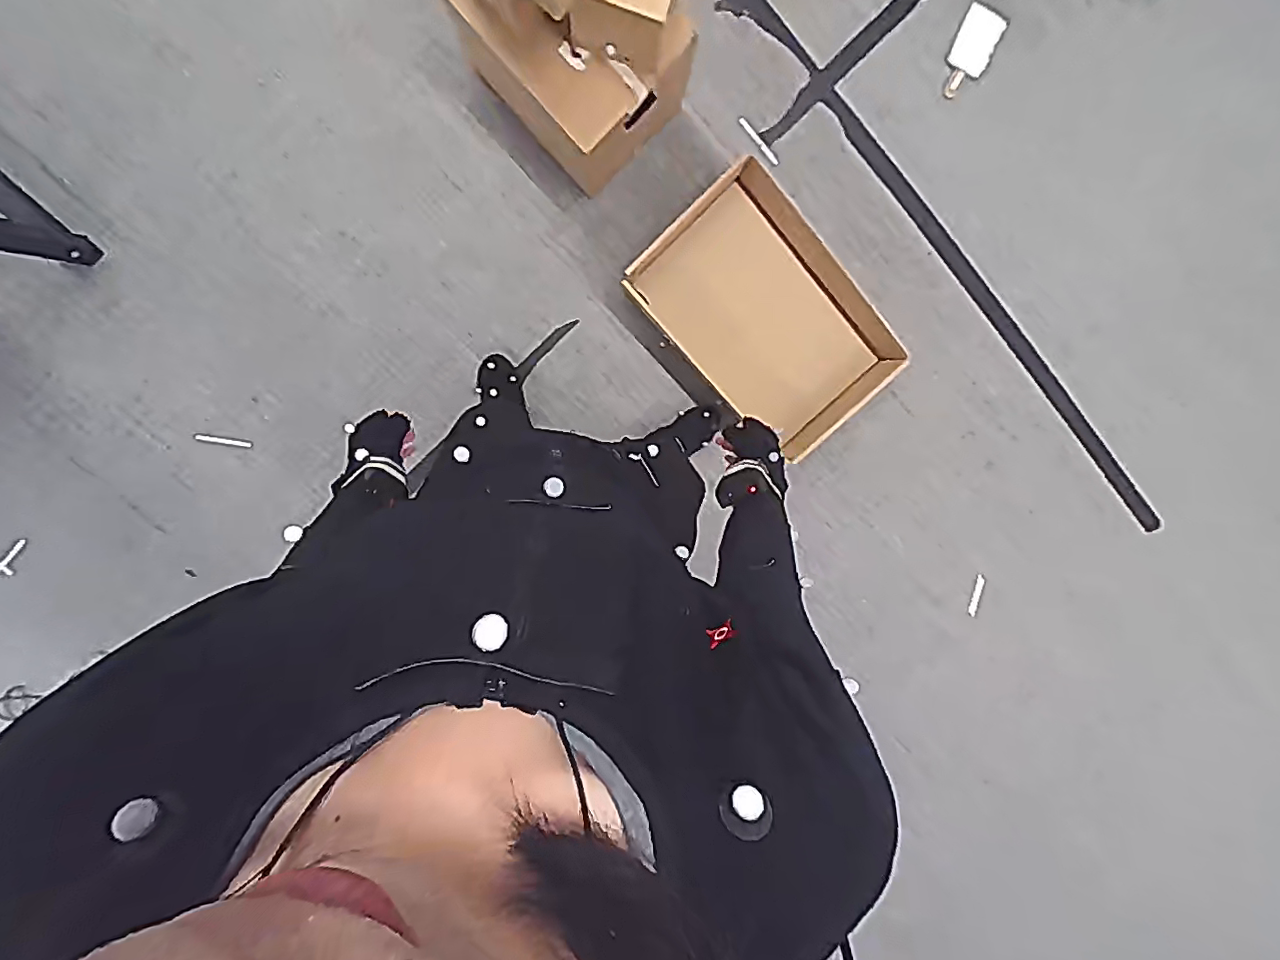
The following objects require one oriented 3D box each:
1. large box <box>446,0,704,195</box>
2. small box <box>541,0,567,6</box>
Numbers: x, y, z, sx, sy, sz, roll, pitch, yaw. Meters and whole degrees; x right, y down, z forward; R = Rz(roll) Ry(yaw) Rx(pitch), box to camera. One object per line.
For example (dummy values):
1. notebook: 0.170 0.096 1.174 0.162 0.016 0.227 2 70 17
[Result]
1. large box: -0.132 -0.910 1.148 0.320 0.320 0.408 -44 102 8
2. small box: -0.136 -0.823 0.750 0.179 0.176 0.168 40 99 -10
